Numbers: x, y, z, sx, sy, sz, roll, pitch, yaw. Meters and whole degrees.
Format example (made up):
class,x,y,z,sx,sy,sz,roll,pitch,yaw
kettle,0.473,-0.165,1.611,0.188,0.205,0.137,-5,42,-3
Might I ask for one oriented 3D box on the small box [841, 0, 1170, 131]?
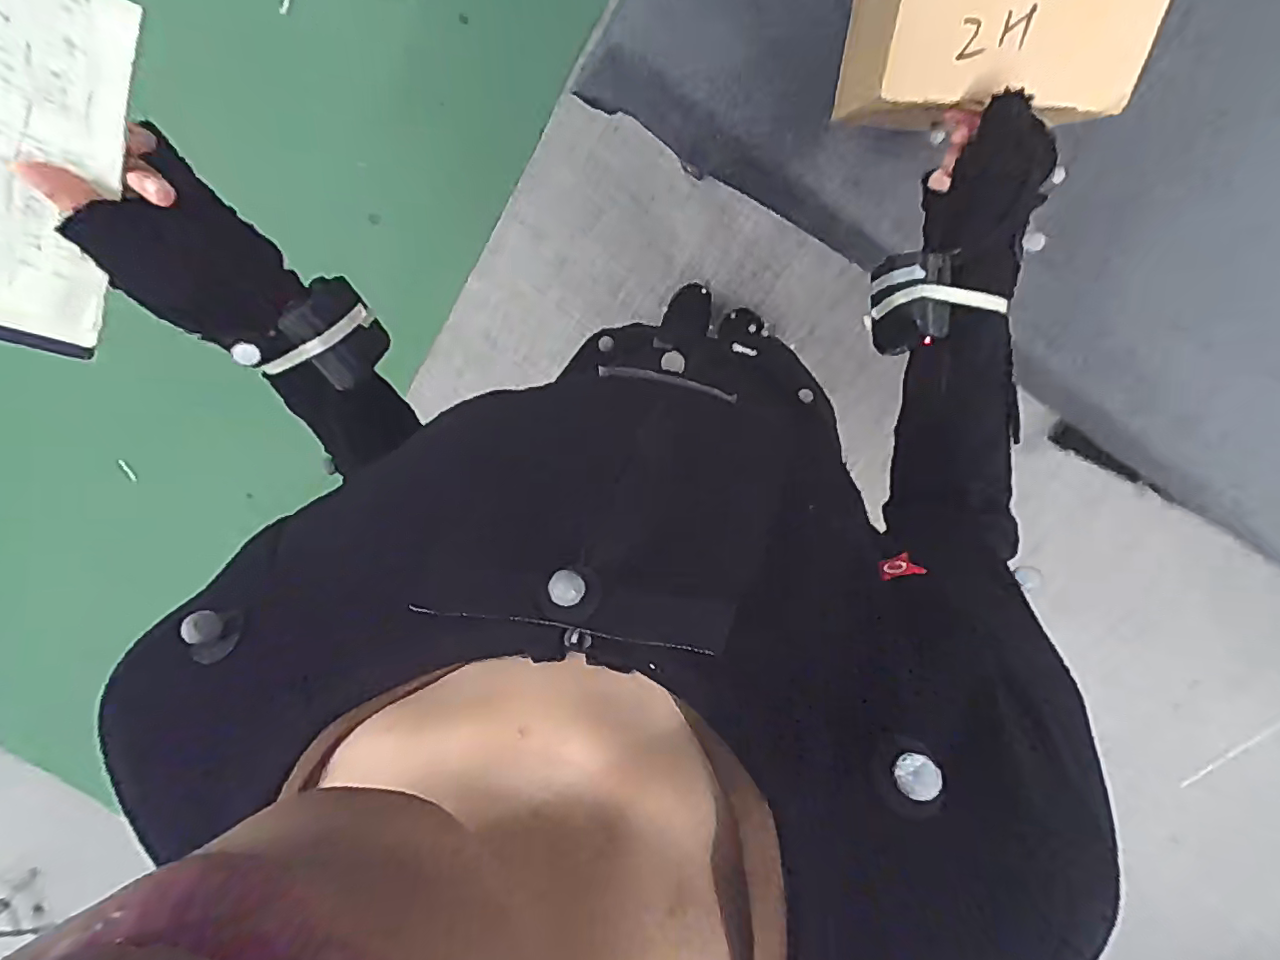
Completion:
class,x,y,z,sx,sy,sz,roll,pitch,yaw
small box,0.263,-0.376,0.403,0.168,0.176,0.179,5,119,4
